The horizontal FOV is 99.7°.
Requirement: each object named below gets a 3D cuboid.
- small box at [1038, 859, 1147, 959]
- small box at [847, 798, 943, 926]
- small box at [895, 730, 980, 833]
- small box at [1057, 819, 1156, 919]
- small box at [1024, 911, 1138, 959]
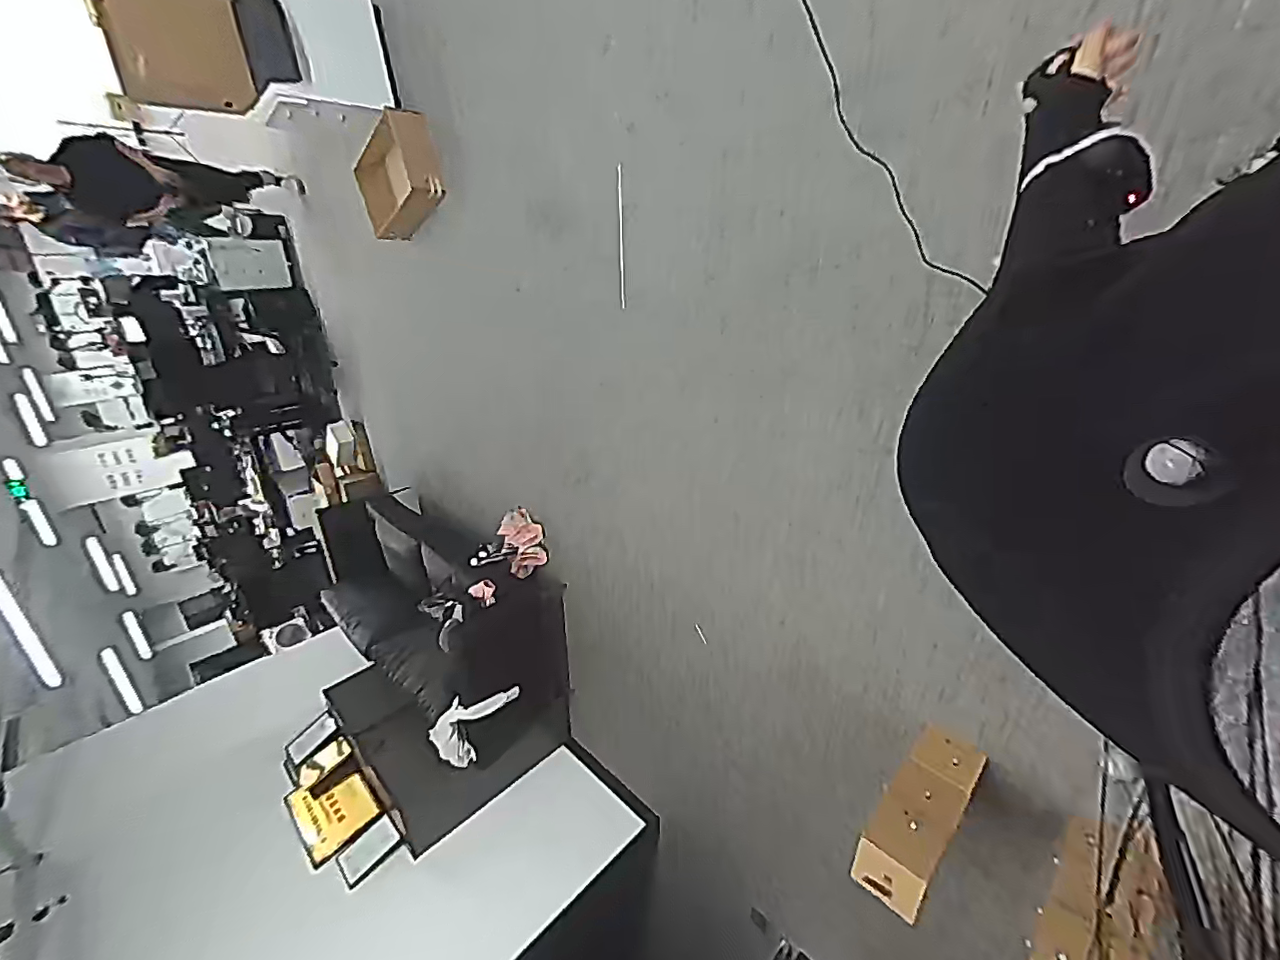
[{"bbox_3d":[1.064,1.057,1.279,0.179,0.176,0.168,15,117,42],"label":"small box"},{"bbox_3d":[0.672,0.994,1.421,0.168,0.176,0.179,22,121,39],"label":"small box"},{"bbox_3d":[0.903,0.902,1.637,0.168,0.176,0.179,23,122,40],"label":"small box"},{"bbox_3d":[1.183,1.016,1.385,0.179,0.176,0.168,15,118,41],"label":"small box"},{"bbox_3d":[0.944,1.089,1.169,0.179,0.176,0.168,17,120,41],"label":"small box"}]
